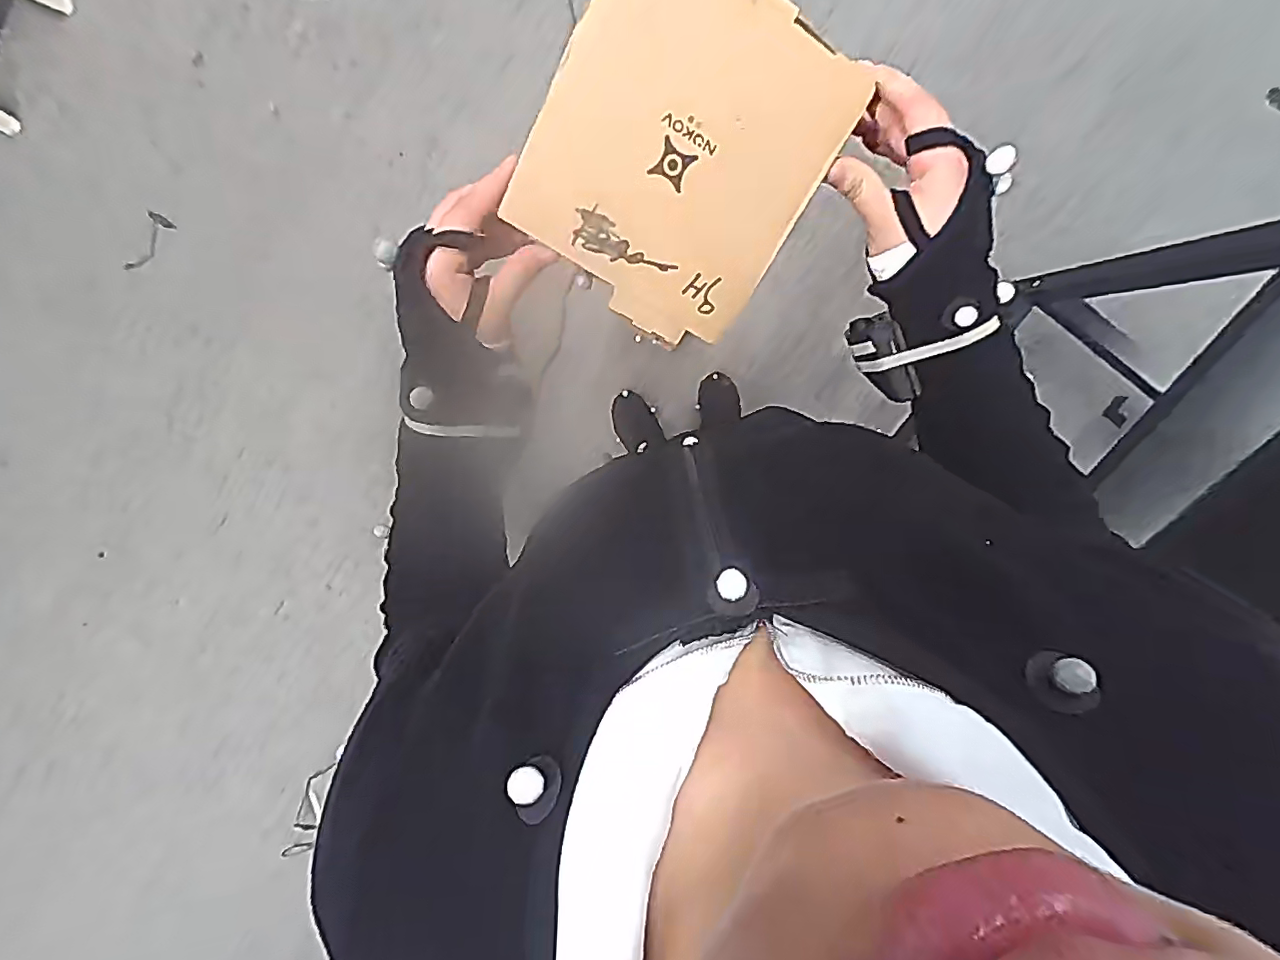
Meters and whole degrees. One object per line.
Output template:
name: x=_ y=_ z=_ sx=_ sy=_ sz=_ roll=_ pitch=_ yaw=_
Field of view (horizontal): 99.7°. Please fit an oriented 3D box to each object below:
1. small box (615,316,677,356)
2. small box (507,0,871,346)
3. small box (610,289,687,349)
small box: x=0.054 y=-0.425 z=1.342 sx=0.168 sy=0.176 sz=0.179 roll=32 pitch=101 yaw=-4
small box: x=0.024 y=-0.228 z=0.403 sx=0.168 sy=0.176 sz=0.179 roll=28 pitch=109 yaw=-11
small box: x=0.050 y=-0.401 z=1.182 sx=0.168 sy=0.176 sz=0.179 roll=28 pitch=99 yaw=-4
